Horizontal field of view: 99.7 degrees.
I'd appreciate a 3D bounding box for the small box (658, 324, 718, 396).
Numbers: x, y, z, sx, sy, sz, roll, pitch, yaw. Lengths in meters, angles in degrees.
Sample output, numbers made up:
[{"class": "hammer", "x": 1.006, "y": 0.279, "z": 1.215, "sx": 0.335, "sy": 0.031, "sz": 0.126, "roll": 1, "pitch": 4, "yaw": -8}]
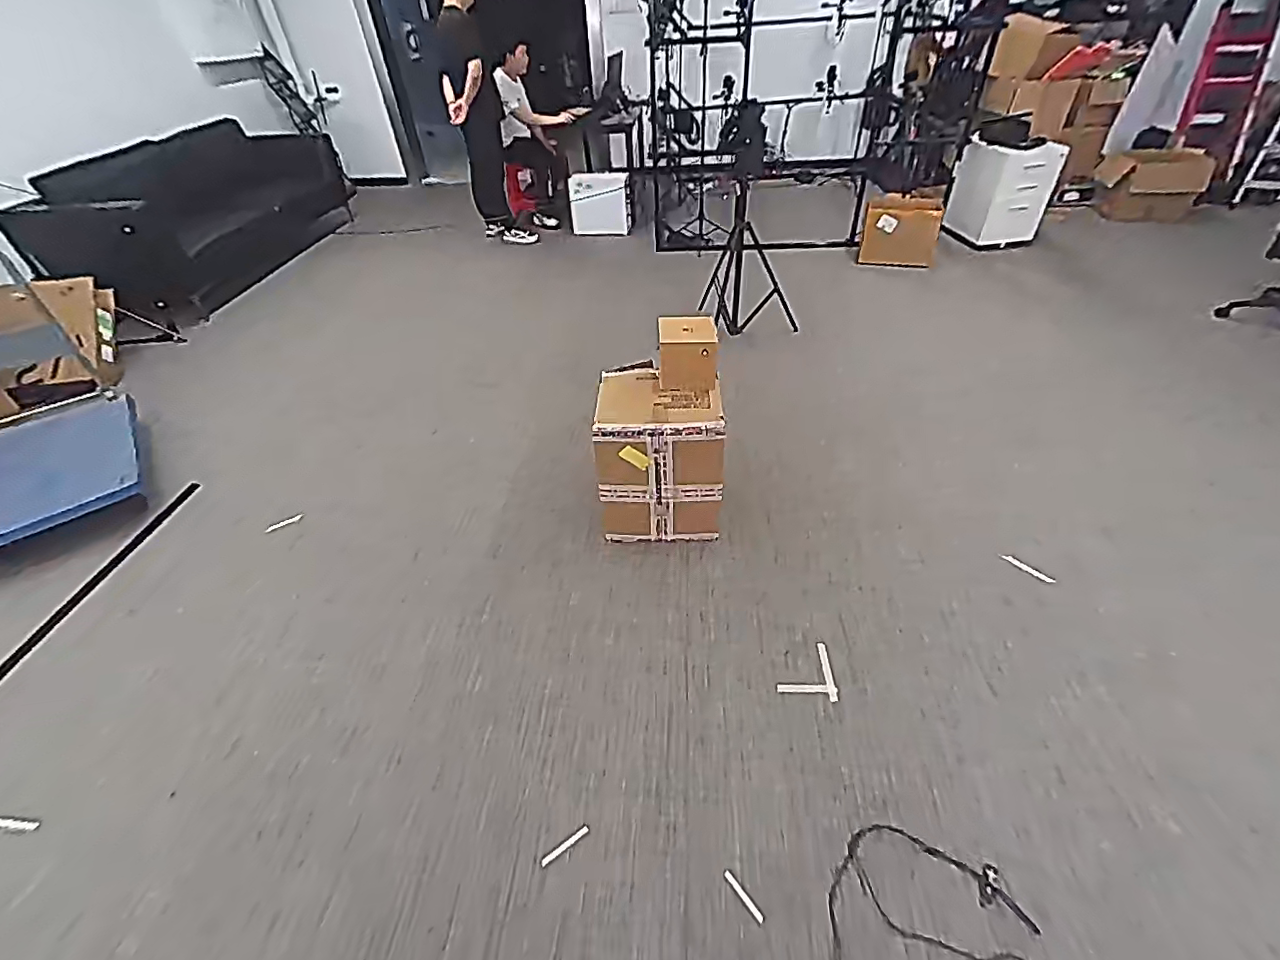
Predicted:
[{"class": "small box", "x": 0.148, "y": -0.378, "z": 1.710, "sx": 0.179, "sy": 0.176, "sz": 0.168, "roll": 0, "pitch": 43, "yaw": 0}]
